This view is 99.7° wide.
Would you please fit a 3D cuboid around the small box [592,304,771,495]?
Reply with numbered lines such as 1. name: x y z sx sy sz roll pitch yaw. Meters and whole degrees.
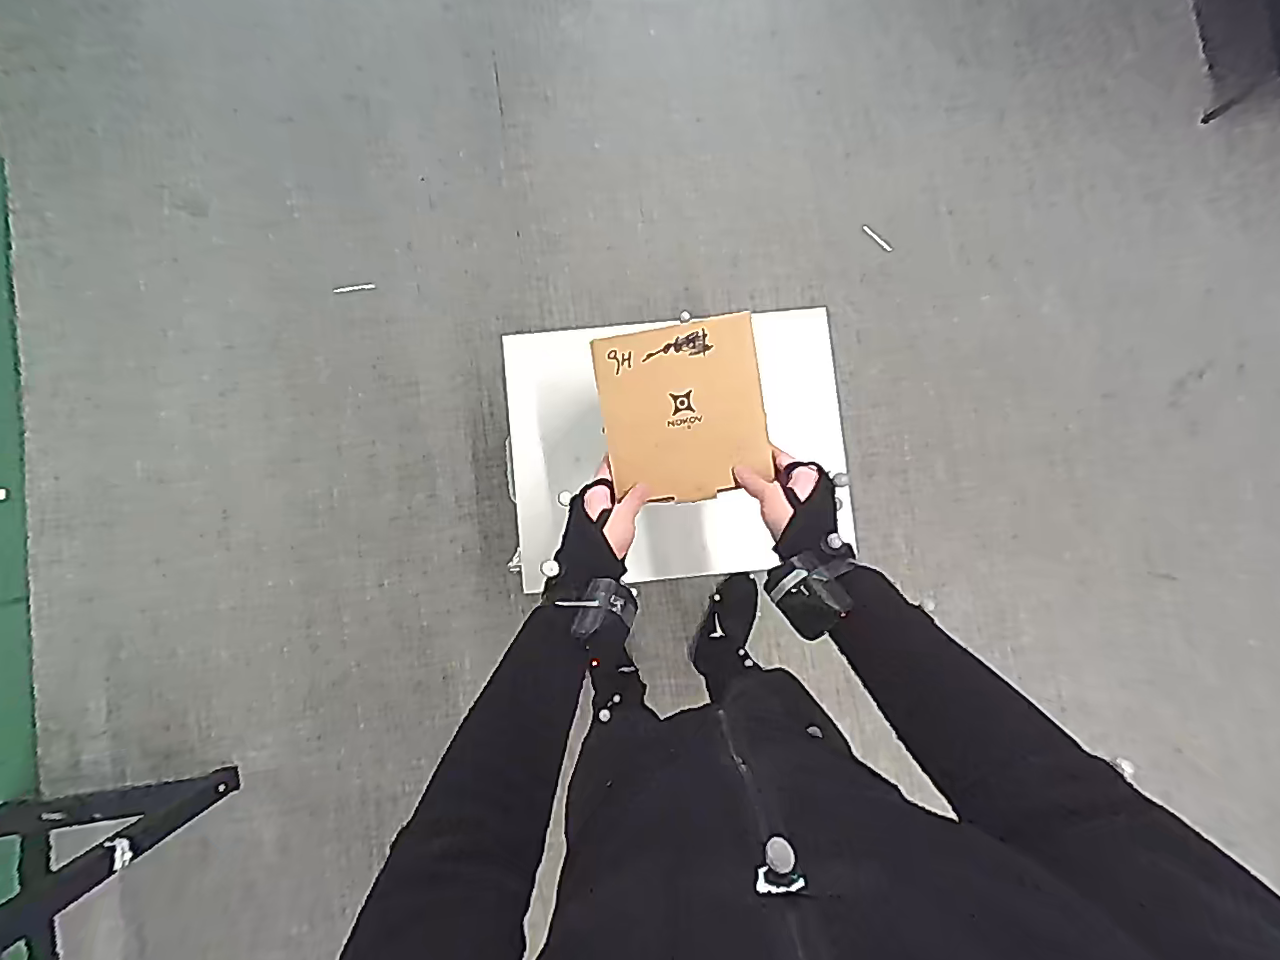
1. small box: 0.050 -0.089 0.640 0.168 0.176 0.179 -10 93 5
